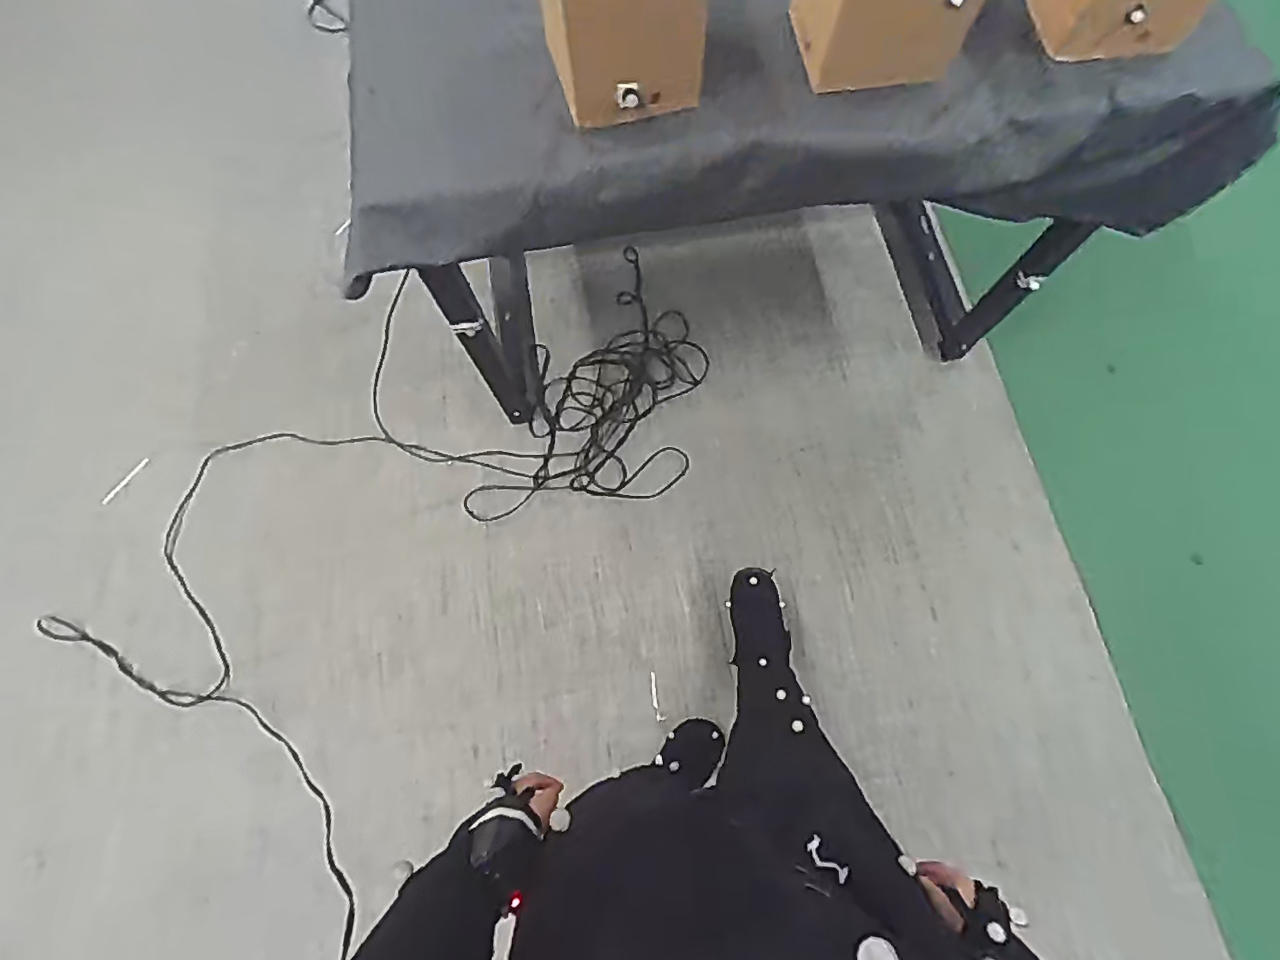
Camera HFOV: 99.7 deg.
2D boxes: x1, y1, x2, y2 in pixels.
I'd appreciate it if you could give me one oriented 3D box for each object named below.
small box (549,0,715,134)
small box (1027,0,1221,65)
[{"bbox_3d":[-0.018,-0.568,0.654,0.168,0.176,0.179,-16,73,-3],"label":"small box"},{"bbox_3d":[0.625,-0.665,0.674,0.168,0.176,0.179,-5,72,0],"label":"small box"}]
